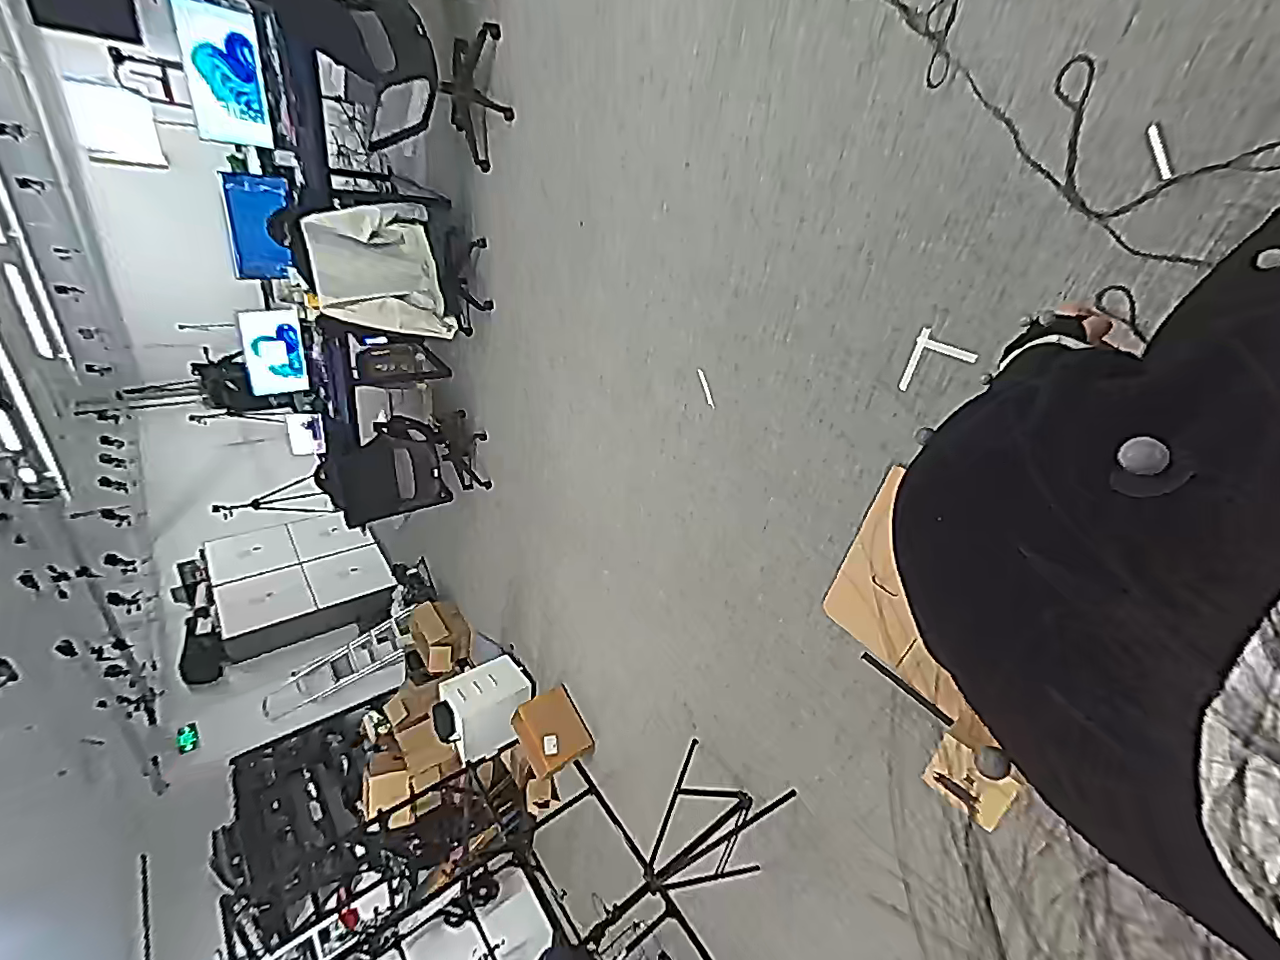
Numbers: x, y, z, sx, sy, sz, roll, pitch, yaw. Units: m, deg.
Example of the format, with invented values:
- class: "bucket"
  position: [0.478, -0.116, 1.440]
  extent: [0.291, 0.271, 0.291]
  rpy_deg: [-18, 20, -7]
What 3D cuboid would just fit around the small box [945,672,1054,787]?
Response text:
- class: "small box"
  position: [0.938, 0.642, 1.408]
  extent: [0.168, 0.176, 0.179]
  rpy_deg: [30, 125, 42]
